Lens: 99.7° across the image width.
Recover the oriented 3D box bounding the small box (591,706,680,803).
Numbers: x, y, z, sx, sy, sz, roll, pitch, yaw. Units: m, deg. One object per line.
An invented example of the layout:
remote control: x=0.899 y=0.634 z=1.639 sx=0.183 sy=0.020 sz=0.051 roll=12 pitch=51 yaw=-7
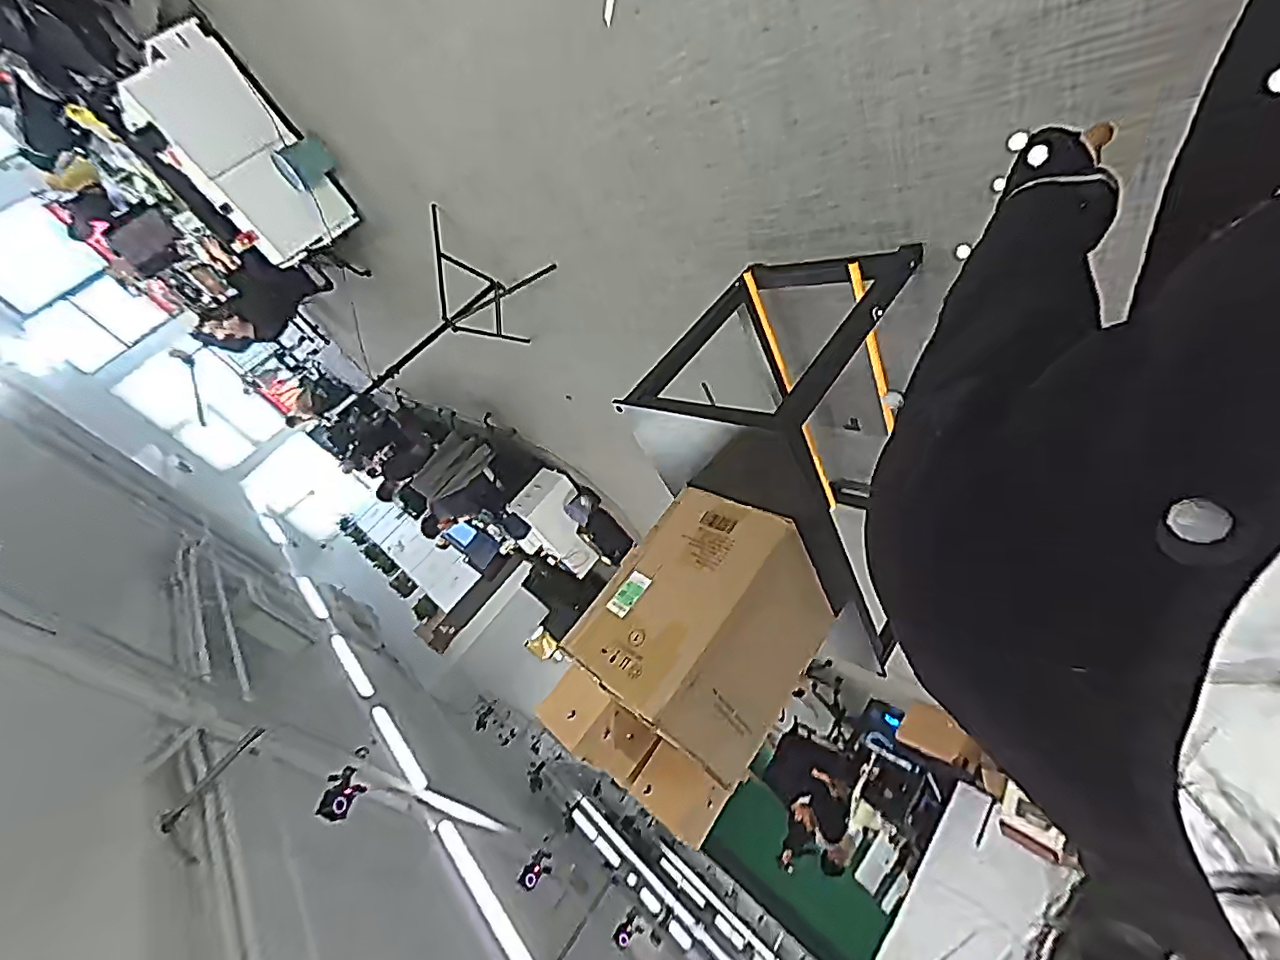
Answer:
small box: x=-0.008 y=0.825 z=1.632 sx=0.168 sy=0.176 sz=0.179 roll=20 pitch=151 yaw=47
